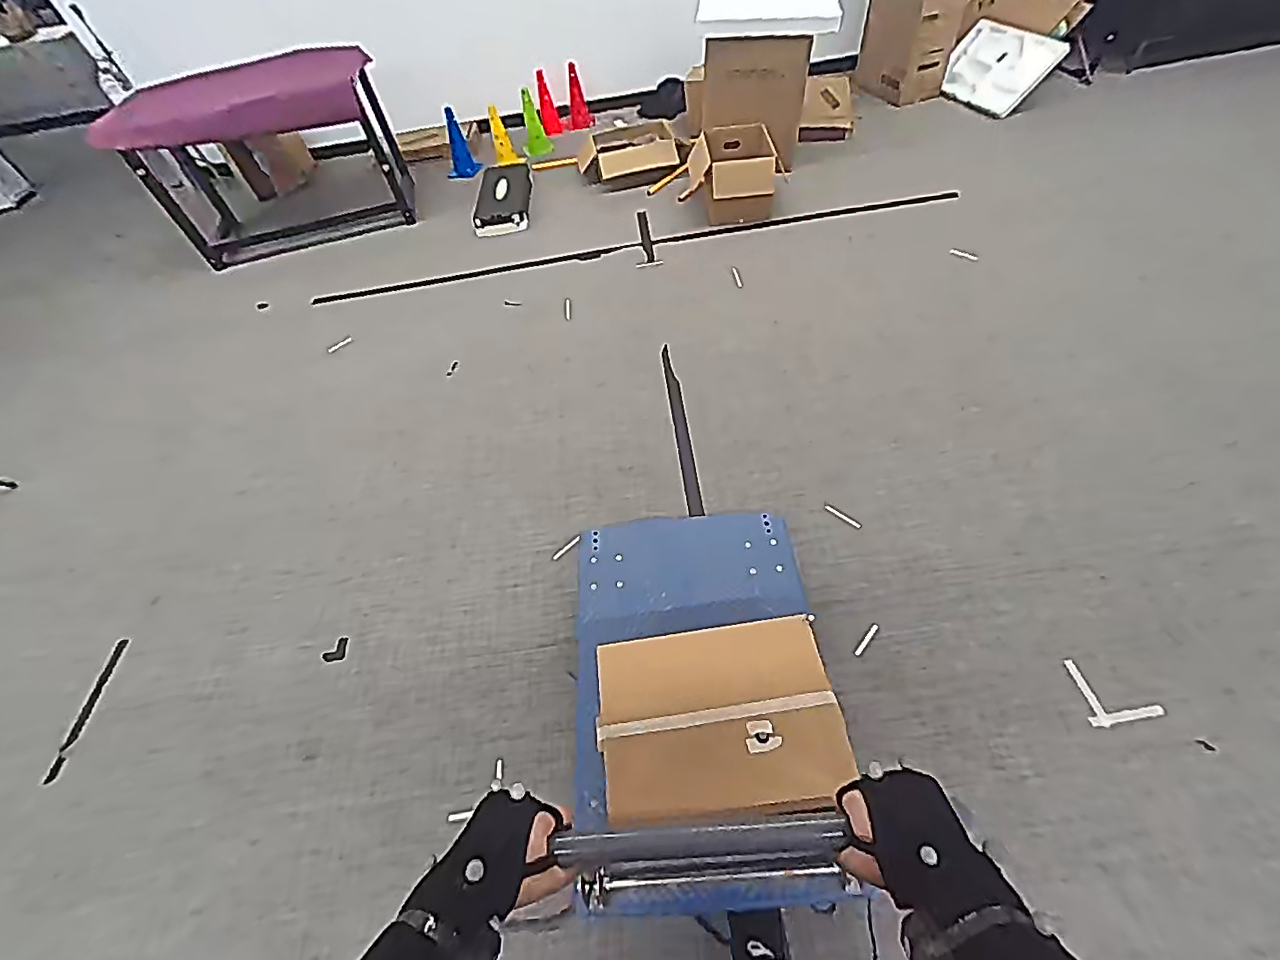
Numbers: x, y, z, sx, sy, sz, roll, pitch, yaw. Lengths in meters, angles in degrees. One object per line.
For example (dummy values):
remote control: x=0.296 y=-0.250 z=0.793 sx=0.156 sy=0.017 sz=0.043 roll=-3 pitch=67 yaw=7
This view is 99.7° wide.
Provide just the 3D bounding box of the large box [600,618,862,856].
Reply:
large box: x=0.152 y=0.508 z=1.056 sx=0.408 sy=0.320 sz=0.320 roll=-9 pitch=52 yaw=0
